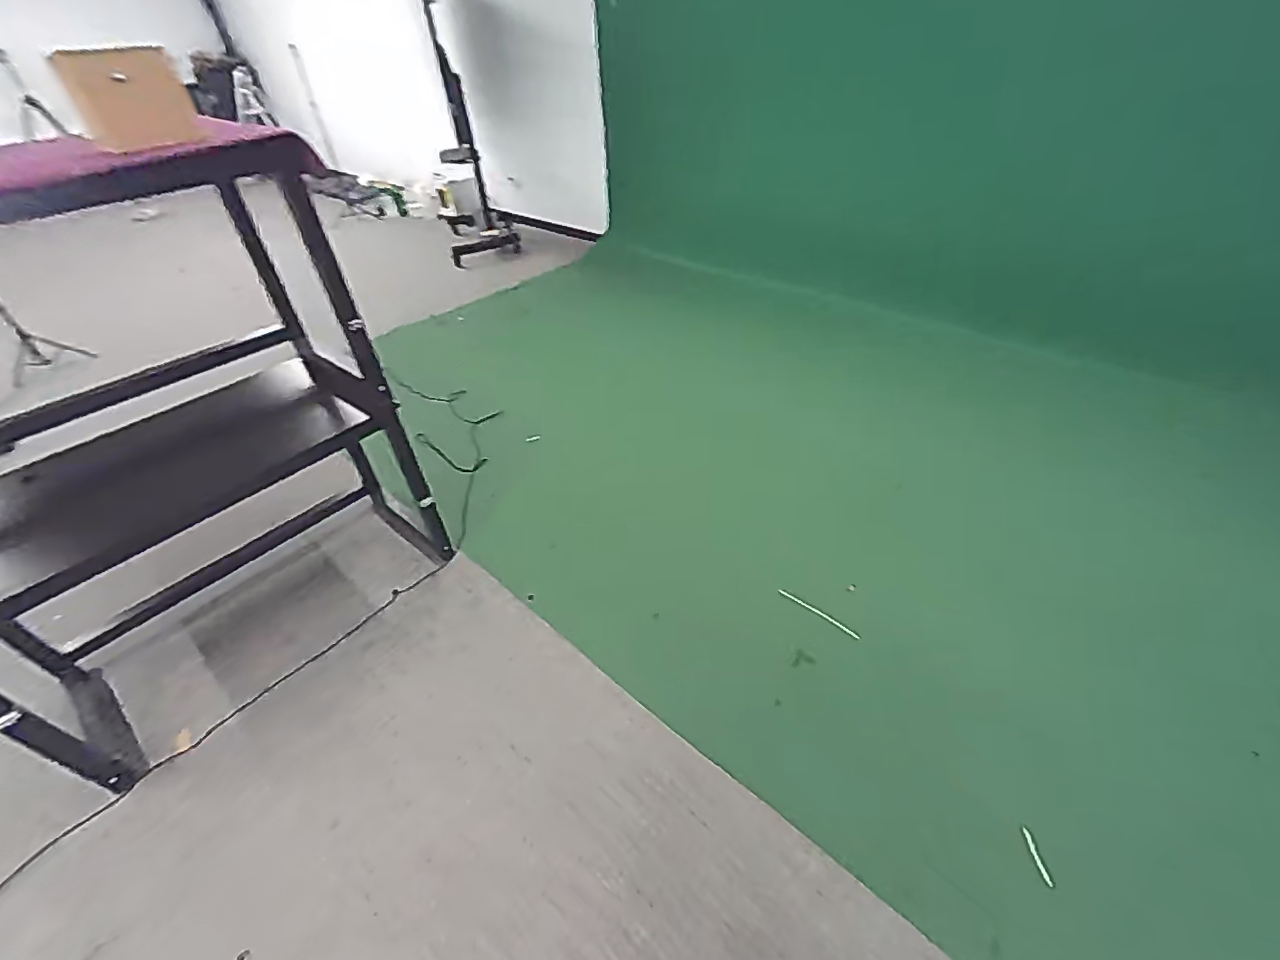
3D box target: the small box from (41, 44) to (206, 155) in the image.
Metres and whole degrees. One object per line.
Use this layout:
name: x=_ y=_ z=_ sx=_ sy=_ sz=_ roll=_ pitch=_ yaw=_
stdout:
small box: x=-1.073 y=-0.796 z=1.134 sx=0.168 sy=0.176 sz=0.179 roll=28 pitch=50 yaw=31
